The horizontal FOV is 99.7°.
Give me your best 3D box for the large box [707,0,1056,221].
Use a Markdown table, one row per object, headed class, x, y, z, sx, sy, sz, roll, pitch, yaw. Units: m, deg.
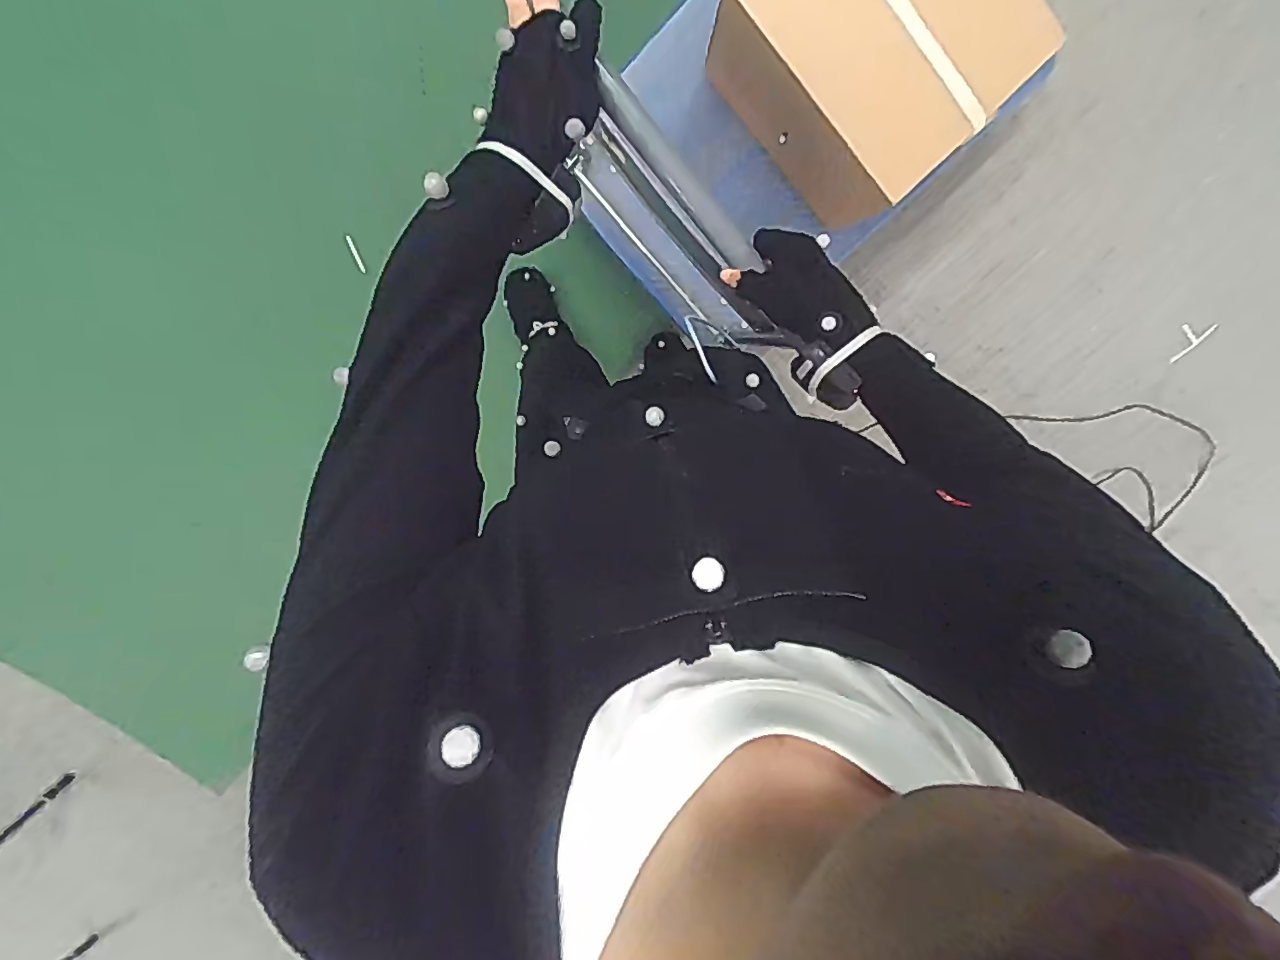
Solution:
| class | x | y | z | sx | sy | sz | roll | pitch | yaw |
| --- | --- | --- | --- | --- | --- | --- | --- | --- | --- |
| large box | 0.369 | -0.728 | 0.926 | 0.320 | 0.320 | 0.408 | -43 | 102 | 12 |
